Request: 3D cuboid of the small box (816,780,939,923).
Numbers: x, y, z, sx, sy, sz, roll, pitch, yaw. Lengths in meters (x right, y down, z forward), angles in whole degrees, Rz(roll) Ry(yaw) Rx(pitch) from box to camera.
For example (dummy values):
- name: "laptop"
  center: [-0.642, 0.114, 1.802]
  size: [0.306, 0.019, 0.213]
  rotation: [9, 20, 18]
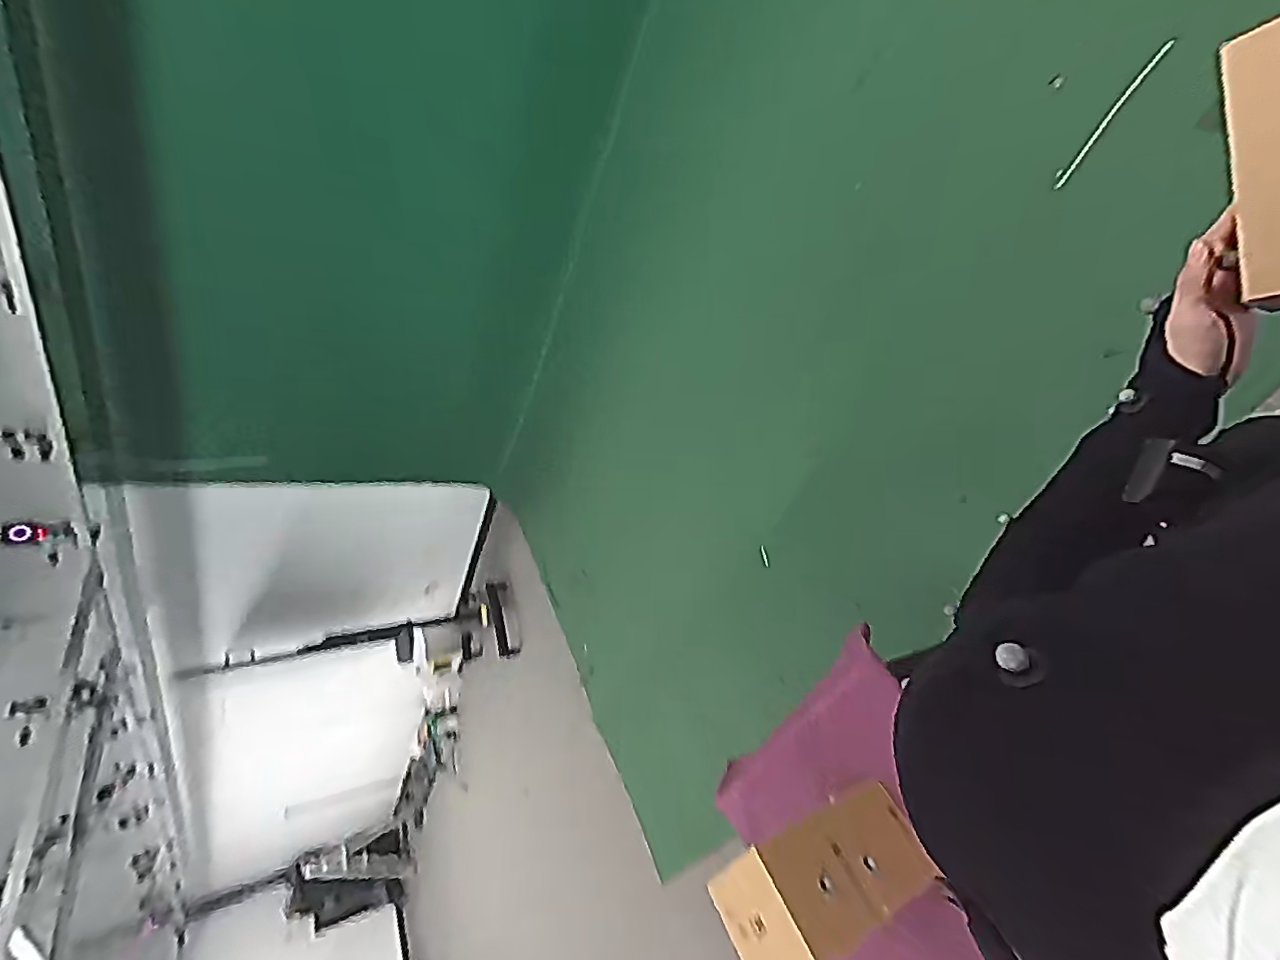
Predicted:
- name: "small box"
  center: [0.389, 0.679, 0.968]
  size: [0.168, 0.176, 0.179]
  rotation: [54, 133, 39]

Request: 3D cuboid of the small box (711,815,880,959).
- name: "small box"
  center: [0.253, 0.681, 0.875]
  size: [0.168, 0.176, 0.179]
  rotation: [56, 134, 39]
